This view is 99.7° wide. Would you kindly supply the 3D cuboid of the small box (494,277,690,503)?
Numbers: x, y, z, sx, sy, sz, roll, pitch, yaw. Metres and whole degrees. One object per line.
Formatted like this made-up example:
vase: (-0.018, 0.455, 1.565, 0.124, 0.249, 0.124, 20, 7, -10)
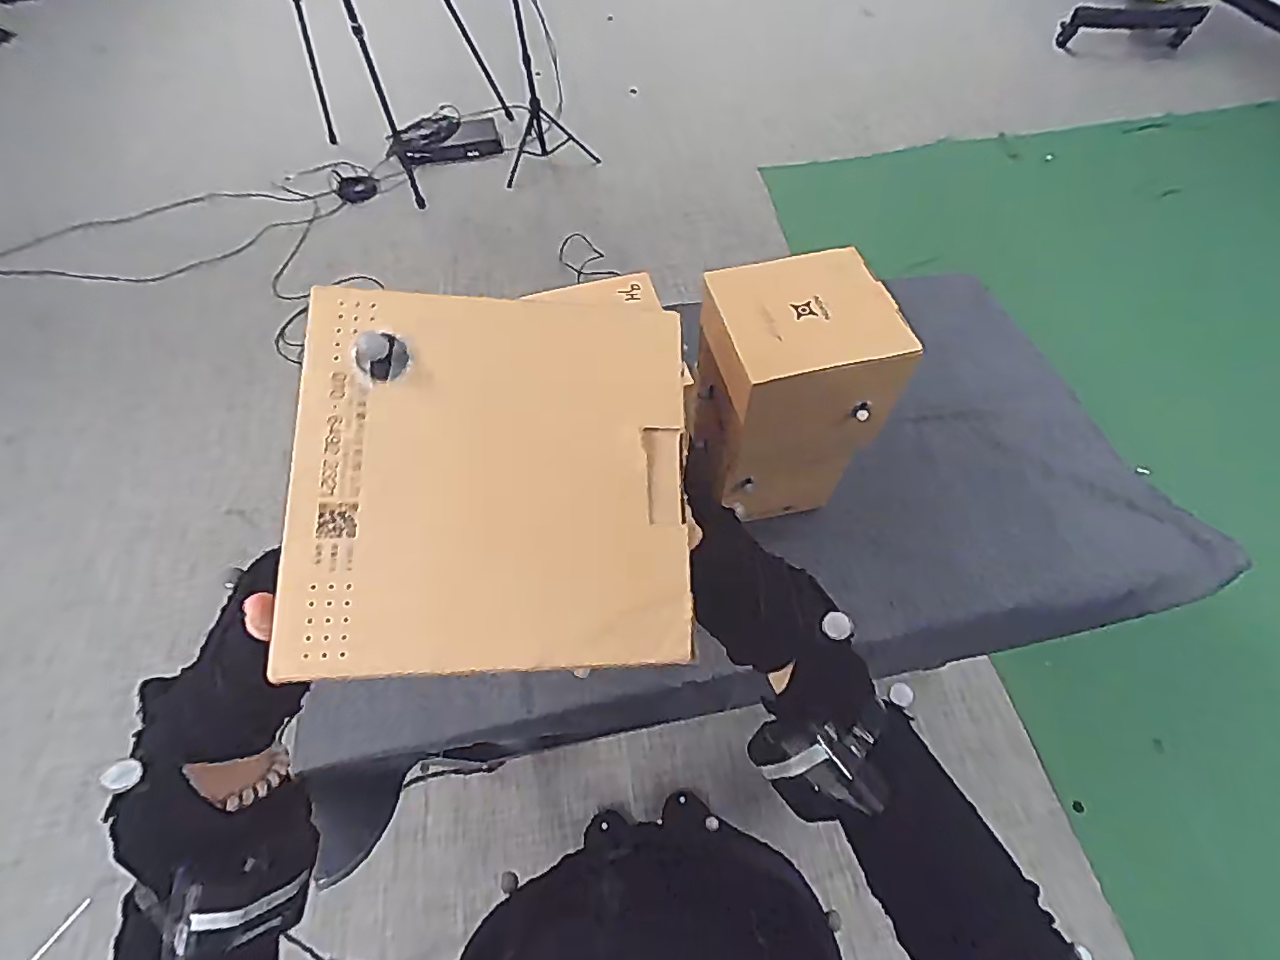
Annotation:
small box: (-0.048, -0.093, 0.615, 0.179, 0.176, 0.168, -15, 61, -5)
